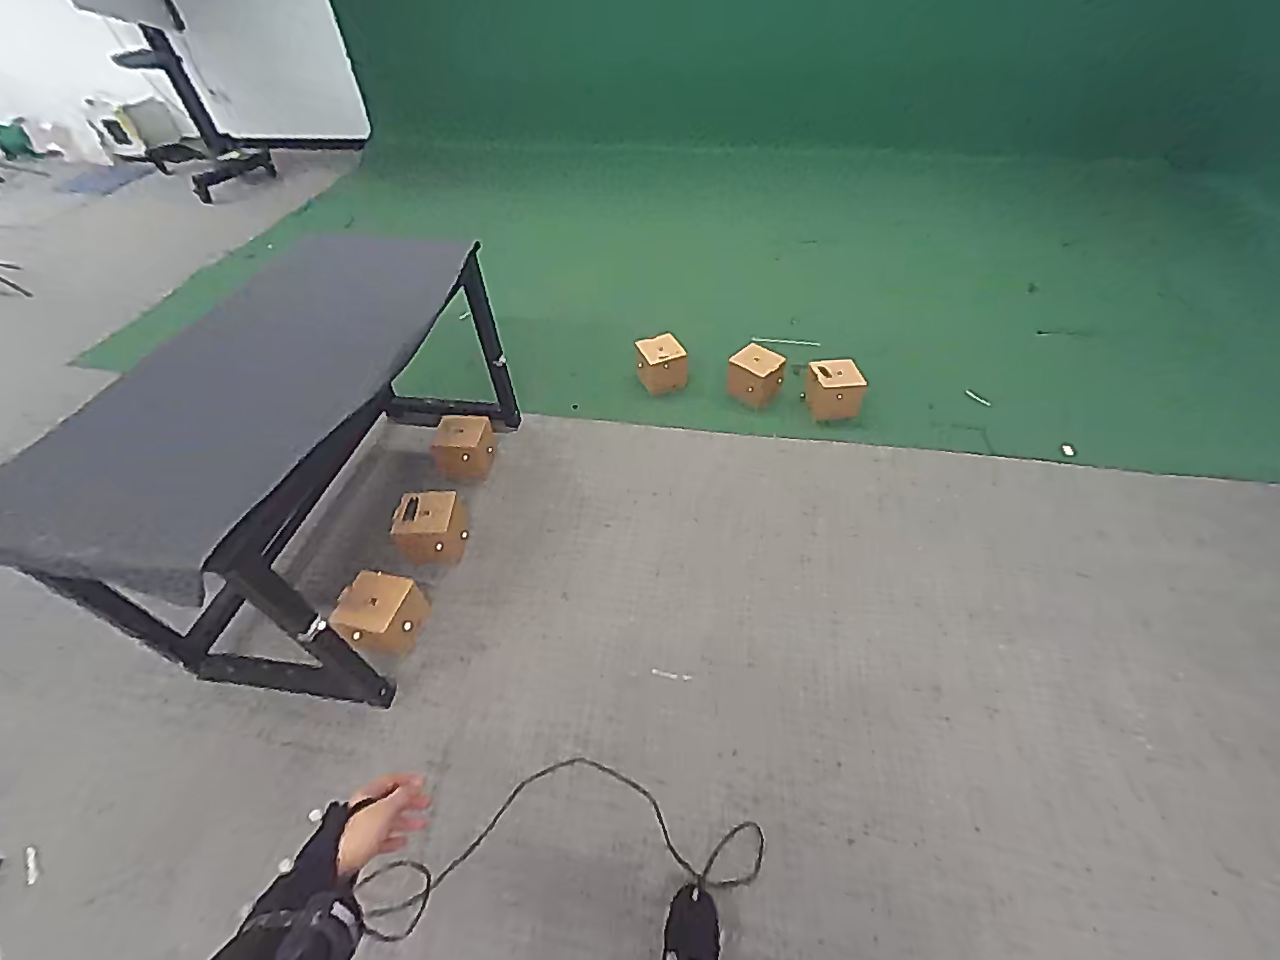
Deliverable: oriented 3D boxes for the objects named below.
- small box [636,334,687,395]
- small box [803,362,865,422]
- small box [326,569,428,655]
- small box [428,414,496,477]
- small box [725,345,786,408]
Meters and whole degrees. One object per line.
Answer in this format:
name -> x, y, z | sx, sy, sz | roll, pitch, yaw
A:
small box -> 0.087, -0.488, 2.293 | 0.168, 0.176, 0.179 | -18, 49, -14
small box -> 0.760, -0.346, 2.141 | 0.179, 0.176, 0.168 | -5, 49, -4
small box -> -0.742, 0.383, 1.550 | 0.179, 0.176, 0.168 | 9, 50, 11
small box -> -0.648, -0.125, 1.992 | 0.179, 0.176, 0.168 | 3, 48, 4
small box -> 0.471, -0.419, 2.217 | 0.179, 0.176, 0.168 | 35, 57, 29
